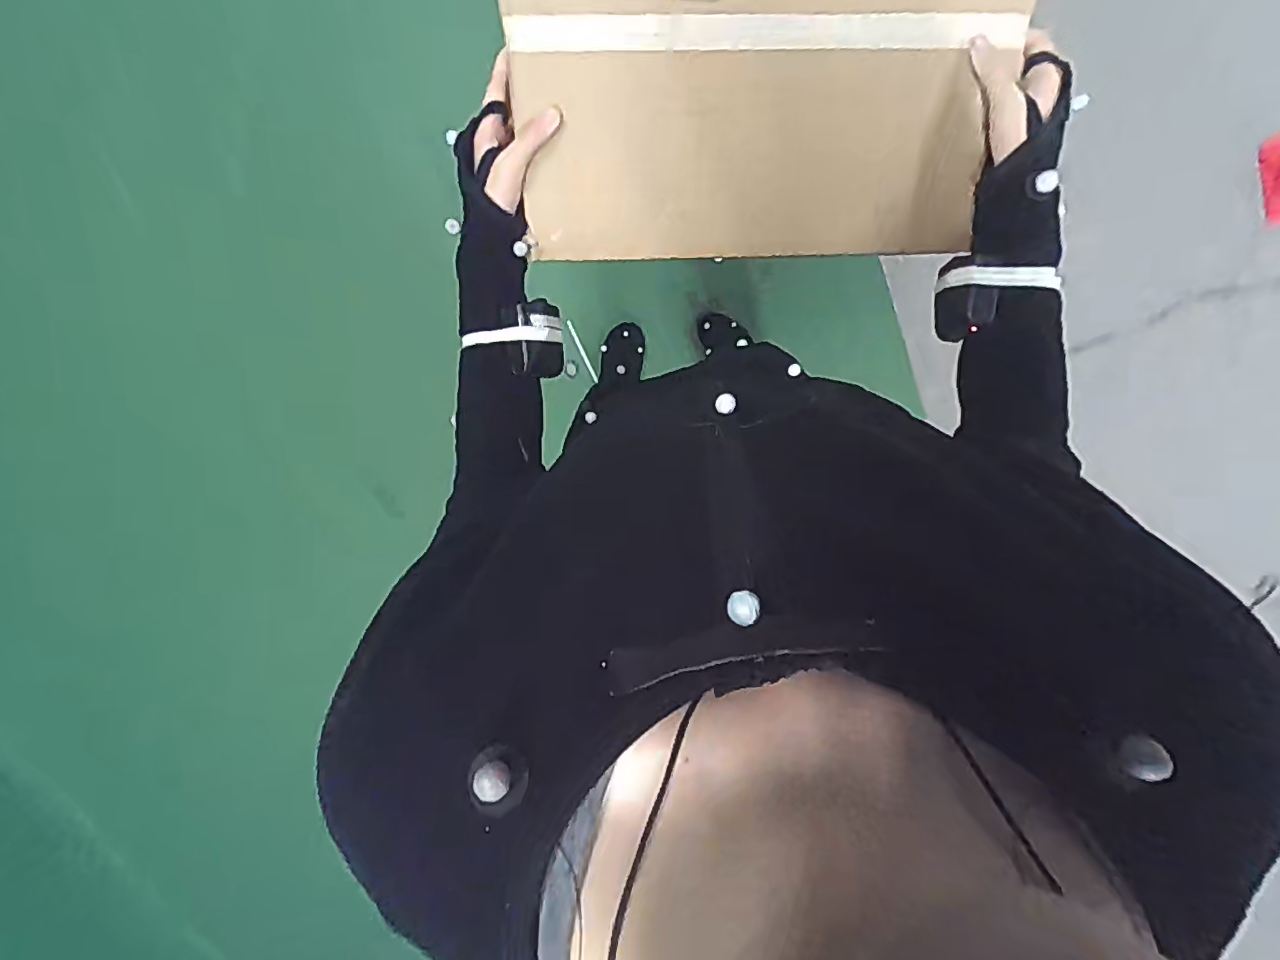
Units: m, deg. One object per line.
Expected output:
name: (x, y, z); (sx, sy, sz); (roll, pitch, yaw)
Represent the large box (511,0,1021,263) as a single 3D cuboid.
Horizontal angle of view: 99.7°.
large box: (0.095, -0.410, 0.564); (0.408, 0.320, 0.320); (-1, 117, -2)
